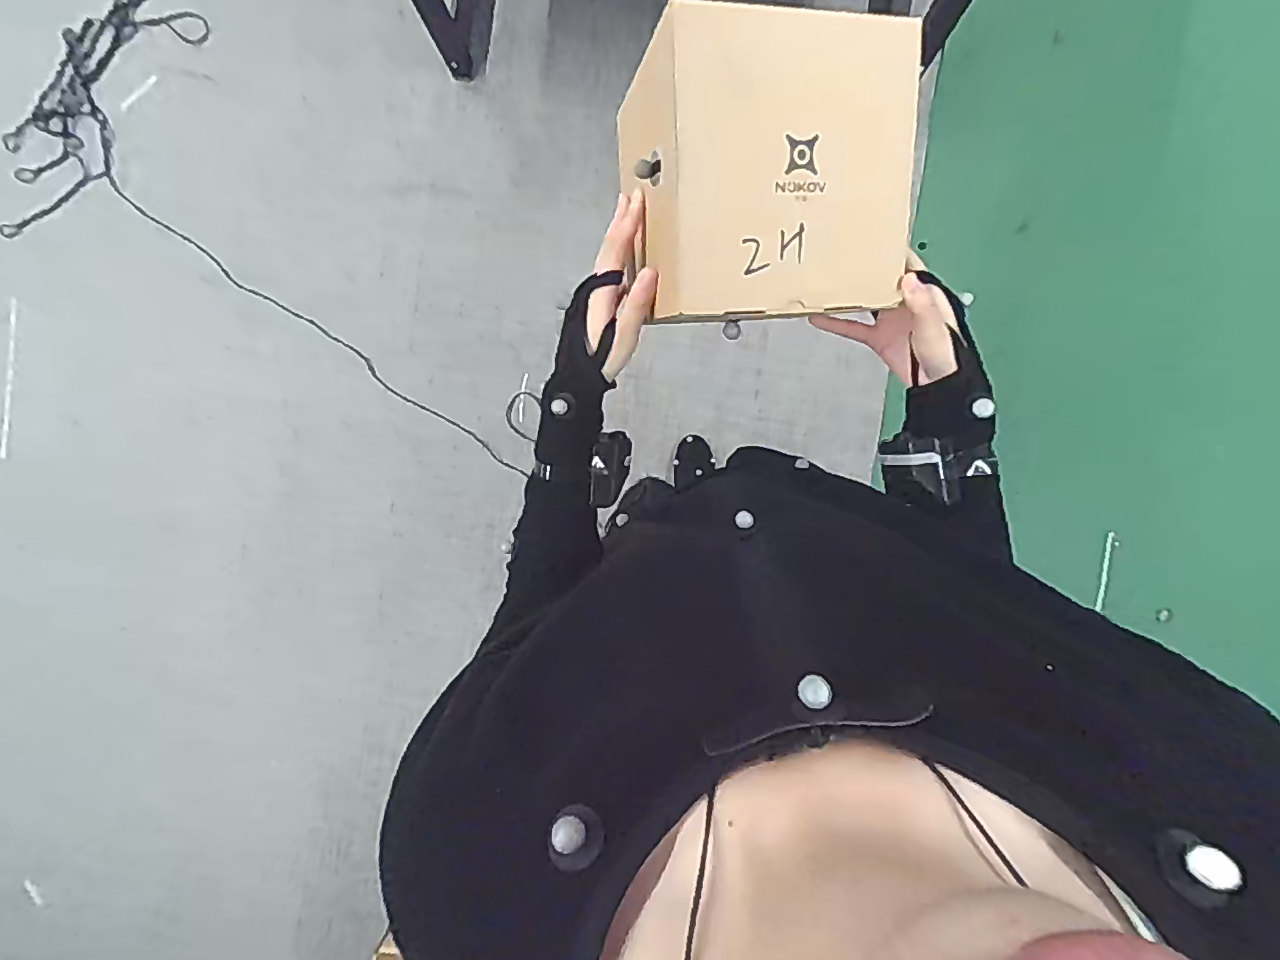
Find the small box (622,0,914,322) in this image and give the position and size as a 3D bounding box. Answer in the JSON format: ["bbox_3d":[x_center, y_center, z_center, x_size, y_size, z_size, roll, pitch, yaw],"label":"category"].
[{"bbox_3d":[0.082,-0.223,0.423,0.168,0.176,0.179,-5,104,-11],"label":"small box"}]
